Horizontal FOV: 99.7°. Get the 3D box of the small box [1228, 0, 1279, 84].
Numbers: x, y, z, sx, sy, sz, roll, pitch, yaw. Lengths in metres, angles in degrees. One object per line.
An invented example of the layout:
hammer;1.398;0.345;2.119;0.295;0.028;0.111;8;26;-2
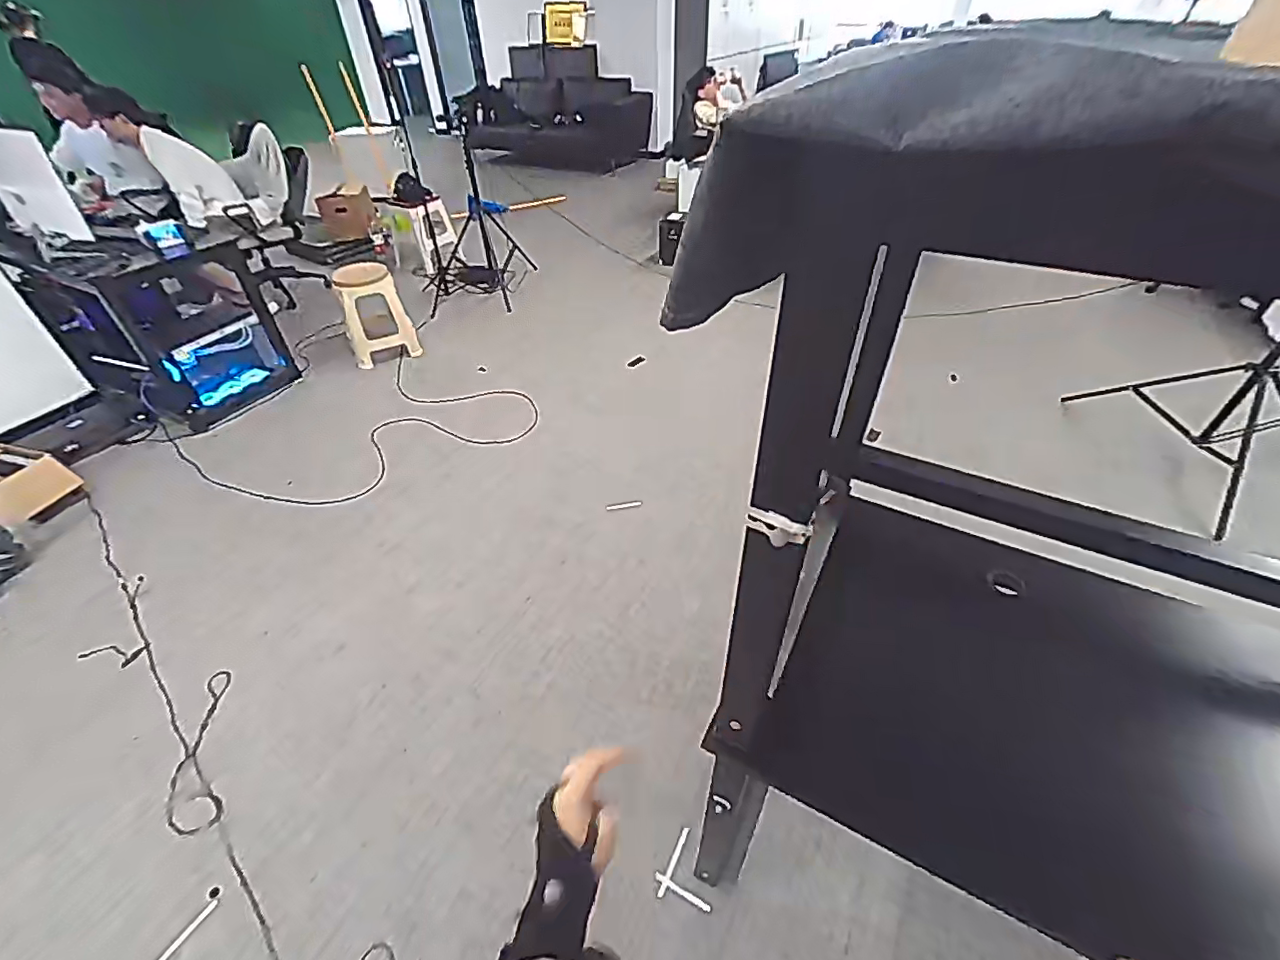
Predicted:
small box;0.380;-0.236;0.185;0.168;0.176;0.179;19;43;19
